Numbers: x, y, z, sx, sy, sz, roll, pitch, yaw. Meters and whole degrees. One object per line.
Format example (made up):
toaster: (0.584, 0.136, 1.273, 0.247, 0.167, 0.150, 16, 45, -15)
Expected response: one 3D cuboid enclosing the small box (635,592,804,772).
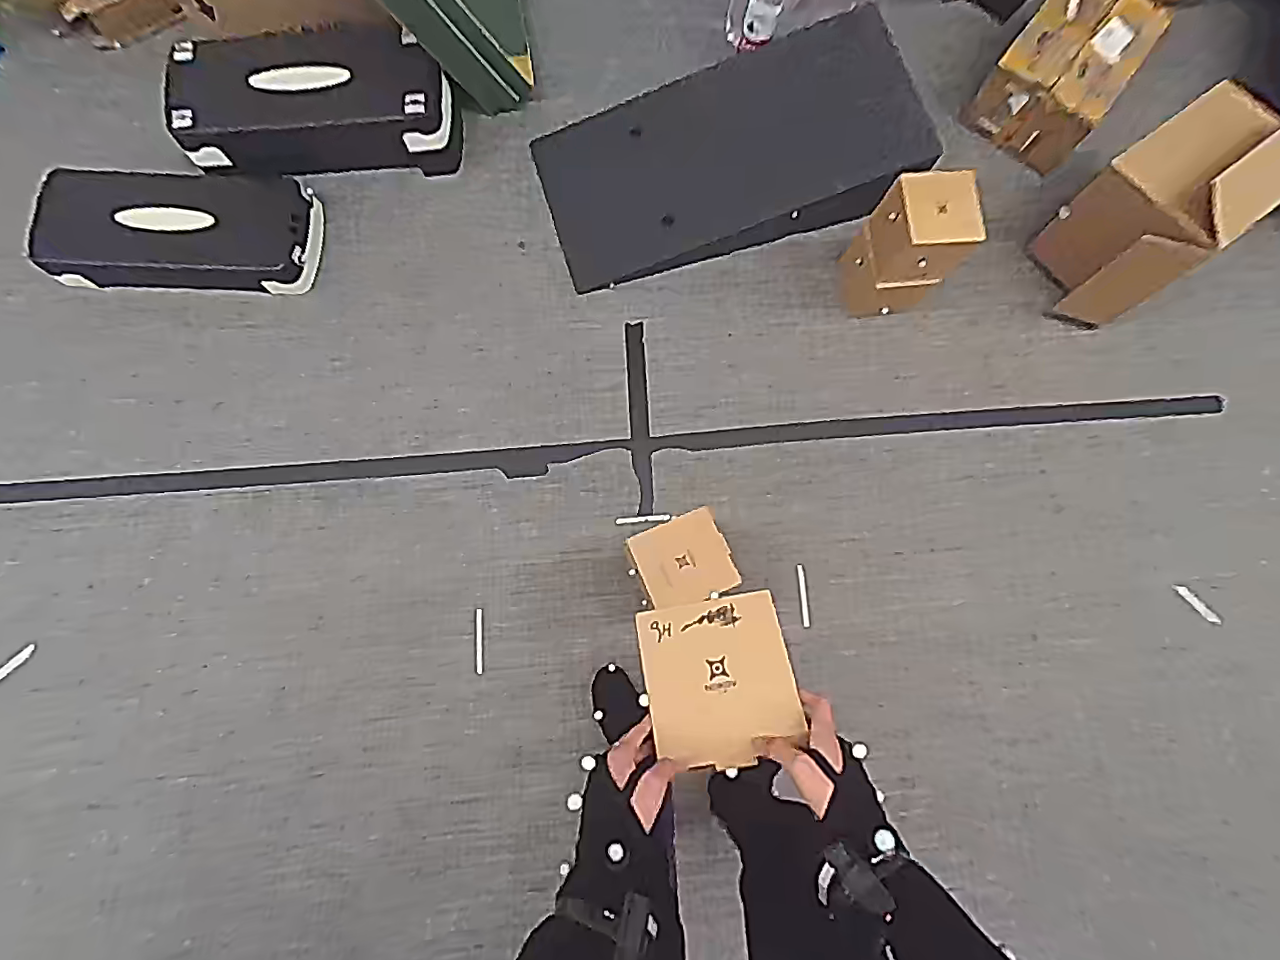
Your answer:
small box: (0.092, 0.257, 0.688, 0.168, 0.176, 0.179, -10, 64, 0)
